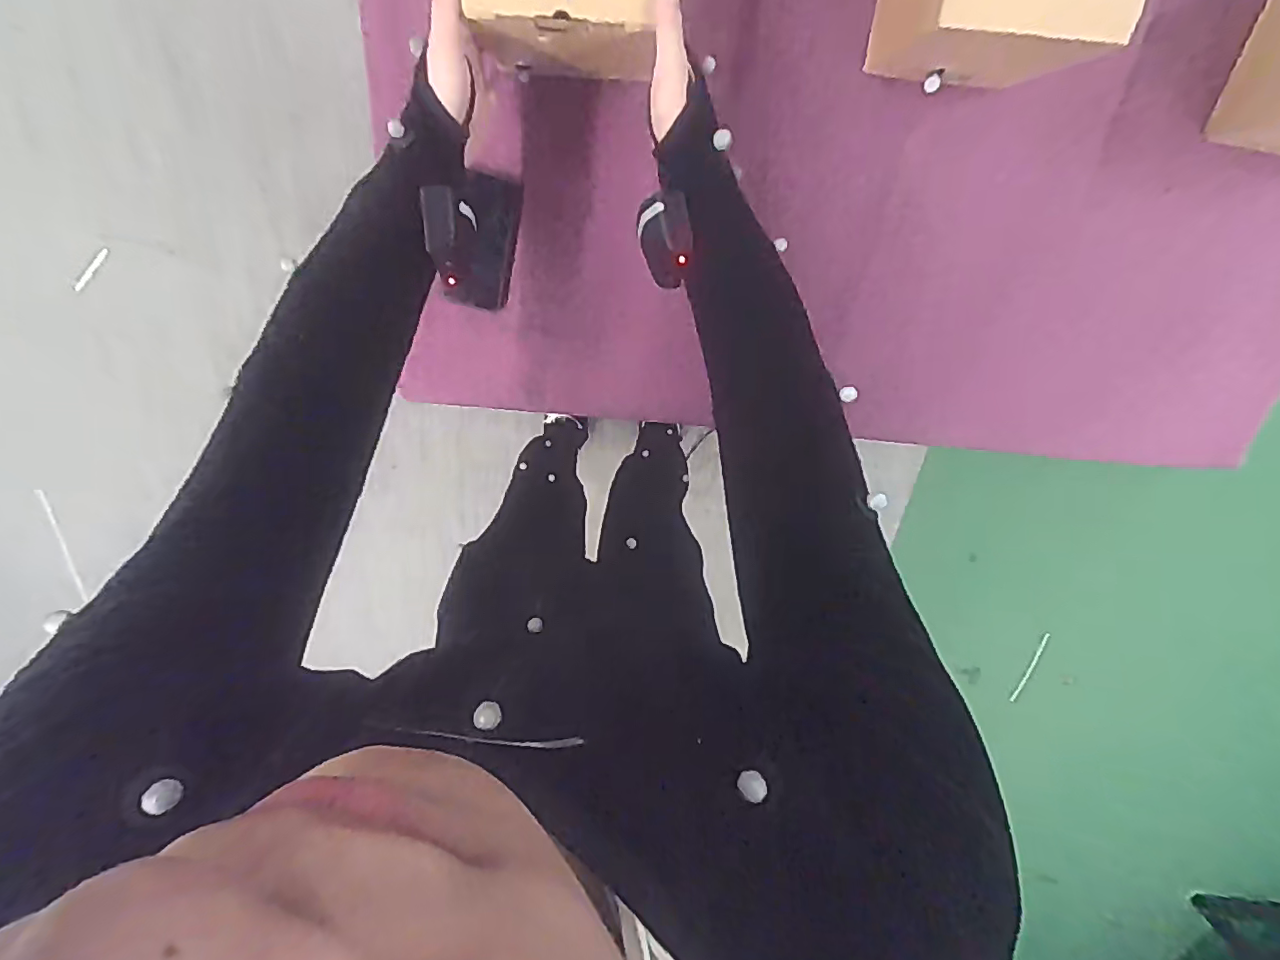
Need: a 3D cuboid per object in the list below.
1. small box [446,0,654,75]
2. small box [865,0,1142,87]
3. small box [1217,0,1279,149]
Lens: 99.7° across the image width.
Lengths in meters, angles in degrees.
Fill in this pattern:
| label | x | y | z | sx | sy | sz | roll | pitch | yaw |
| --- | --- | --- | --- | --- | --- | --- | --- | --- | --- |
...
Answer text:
| label | x | y | z | sx | sy | sz | roll | pitch | yaw |
| --- | --- | --- | --- | --- | --- | --- | --- | --- | --- |
| small box | -0.068 | -0.473 | 0.461 | 0.168 | 0.176 | 0.179 | 1 | 114 | -3 |
| small box | 0.323 | -0.478 | 0.474 | 0.168 | 0.176 | 0.179 | 4 | 115 | -3 |
| small box | 0.730 | -0.427 | 0.508 | 0.168 | 0.176 | 0.179 | 7 | 114 | -4 |
